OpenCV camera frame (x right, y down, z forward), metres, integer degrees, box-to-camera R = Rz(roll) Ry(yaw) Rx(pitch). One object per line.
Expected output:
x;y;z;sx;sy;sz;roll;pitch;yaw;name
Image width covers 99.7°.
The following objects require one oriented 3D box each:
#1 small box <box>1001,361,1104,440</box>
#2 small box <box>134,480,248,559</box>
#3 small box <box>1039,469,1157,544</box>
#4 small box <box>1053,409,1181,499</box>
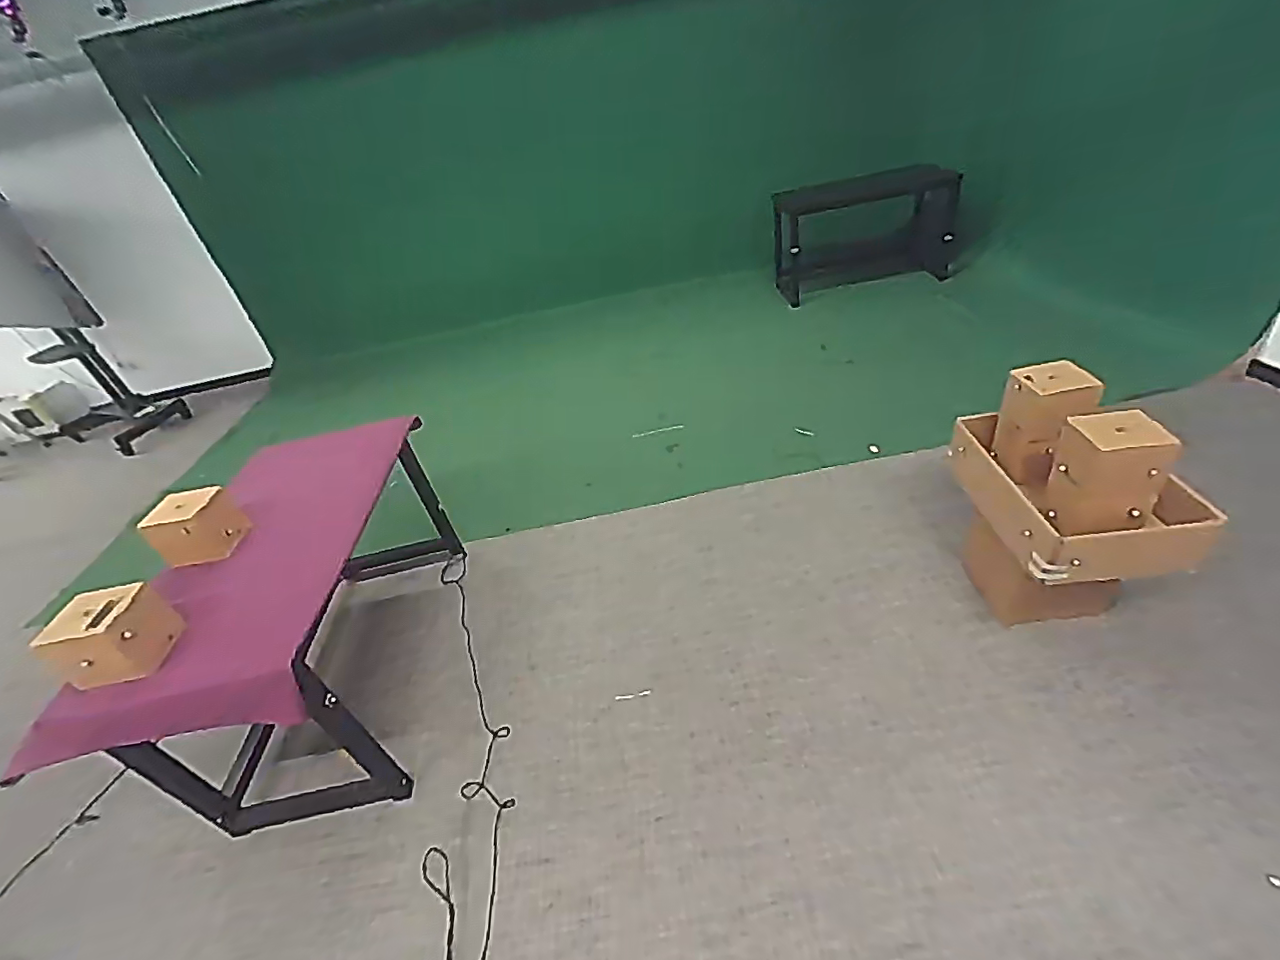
1.251;-0.243;1.656;0.179;0.176;0.168;-9;36;4;small box
-1.371;0.125;1.666;0.179;0.176;0.168;-9;36;1;small box
1.270;0.064;1.517;0.179;0.176;0.168;-4;37;10;small box
1.242;-0.066;1.425;0.179;0.176;0.168;-5;36;10;small box
